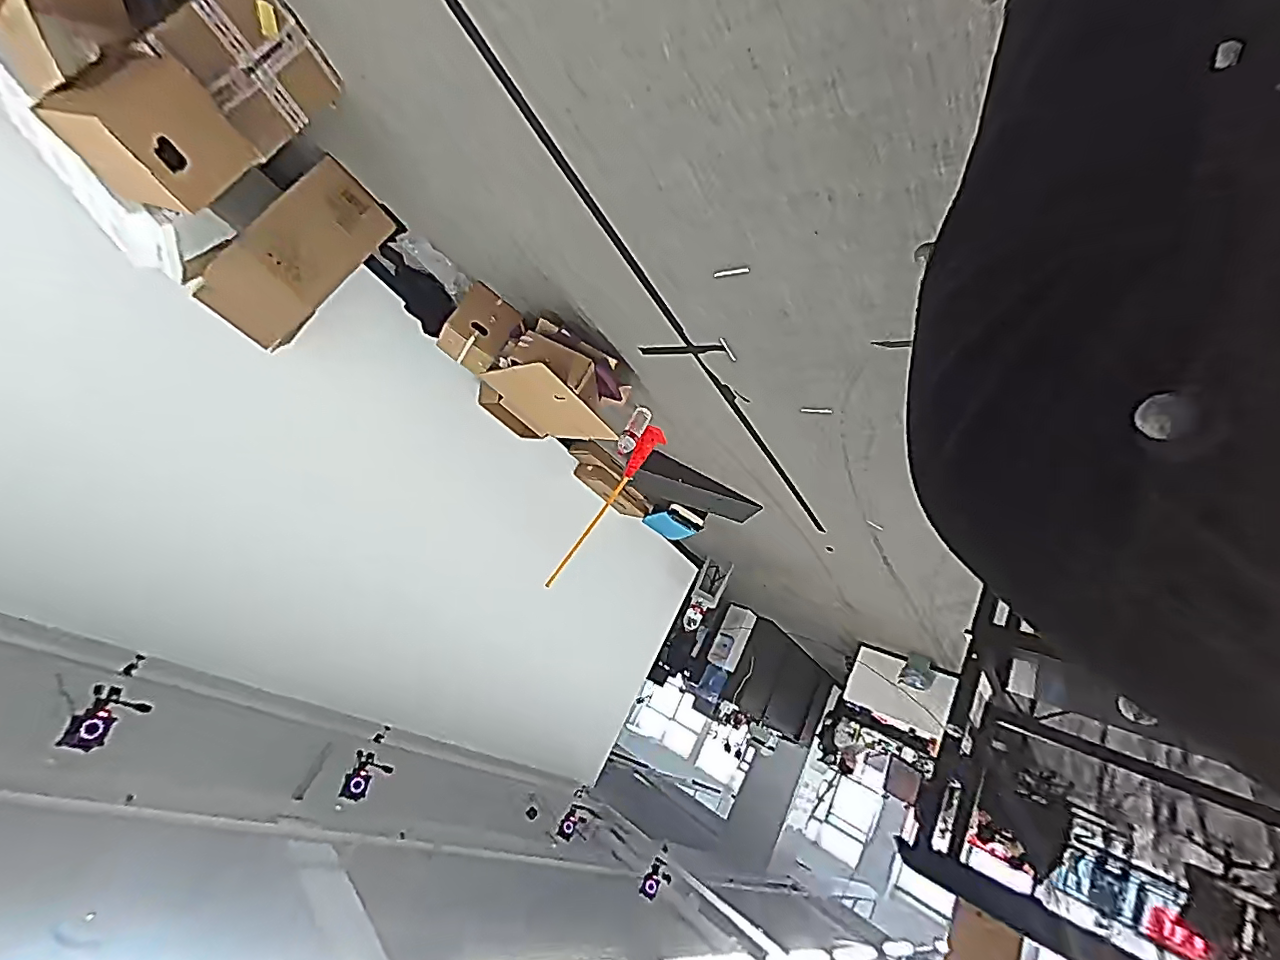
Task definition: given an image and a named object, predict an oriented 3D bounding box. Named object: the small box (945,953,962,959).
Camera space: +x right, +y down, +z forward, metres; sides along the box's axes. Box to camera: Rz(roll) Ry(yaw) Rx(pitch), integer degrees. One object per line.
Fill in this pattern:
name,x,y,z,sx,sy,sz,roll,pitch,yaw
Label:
small box,0.912,1.444,1.476,0.168,0.176,0.179,11,156,41
